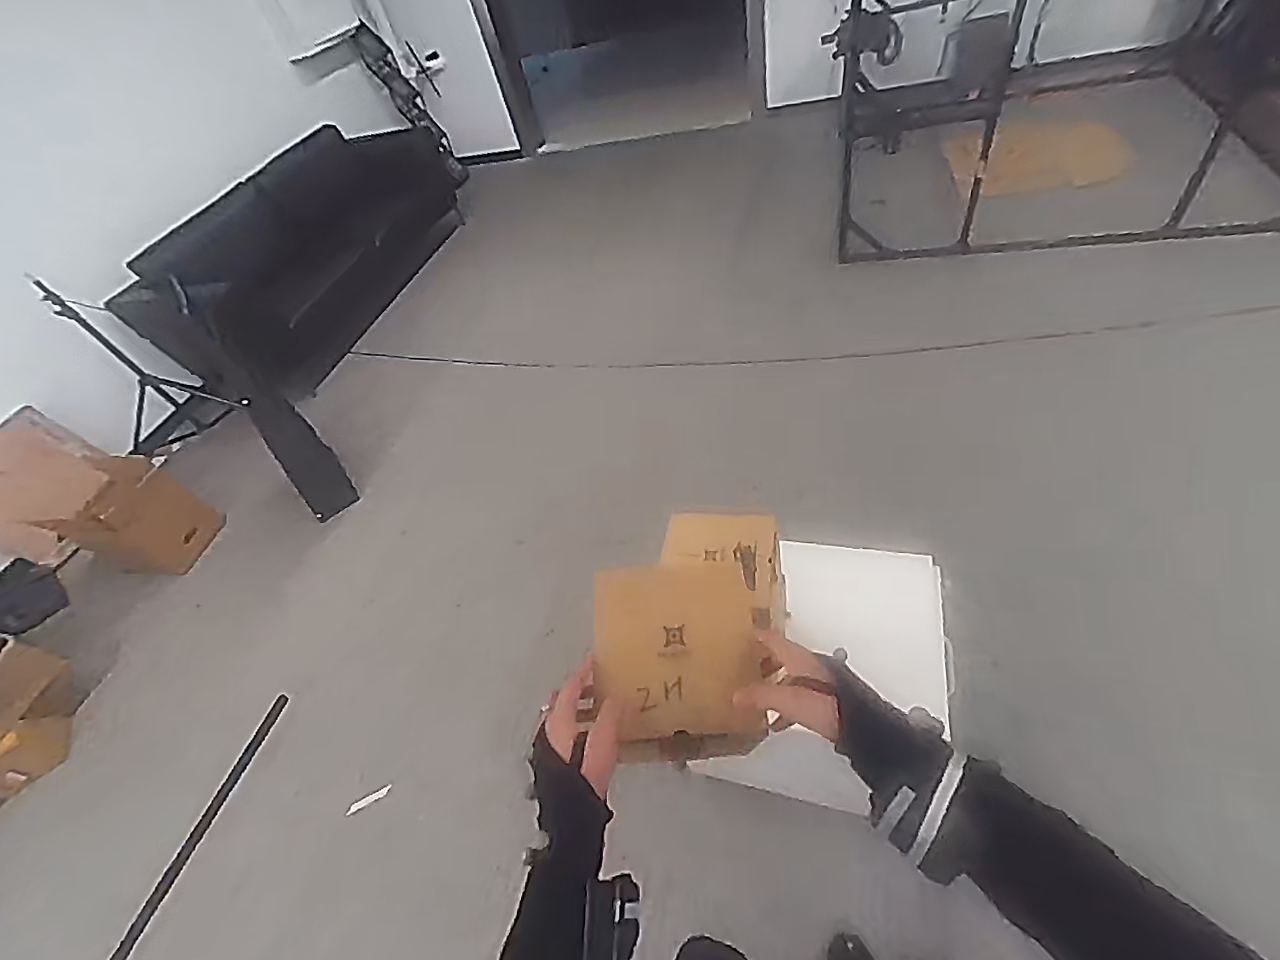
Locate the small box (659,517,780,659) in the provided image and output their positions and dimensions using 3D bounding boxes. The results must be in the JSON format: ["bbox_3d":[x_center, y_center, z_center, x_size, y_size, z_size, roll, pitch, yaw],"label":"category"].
[{"bbox_3d":[0.134,0.177,0.882,0.179,0.176,0.168,0,48,19],"label":"small box"}]

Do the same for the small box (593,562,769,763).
[{"bbox_3d":[0.038,0.209,0.608,0.168,0.176,0.179,-4,57,1],"label":"small box"}]

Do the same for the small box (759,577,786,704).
[{"bbox_3d":[0.175,0.285,0.999,0.168,0.176,0.179,4,50,20],"label":"small box"}]
